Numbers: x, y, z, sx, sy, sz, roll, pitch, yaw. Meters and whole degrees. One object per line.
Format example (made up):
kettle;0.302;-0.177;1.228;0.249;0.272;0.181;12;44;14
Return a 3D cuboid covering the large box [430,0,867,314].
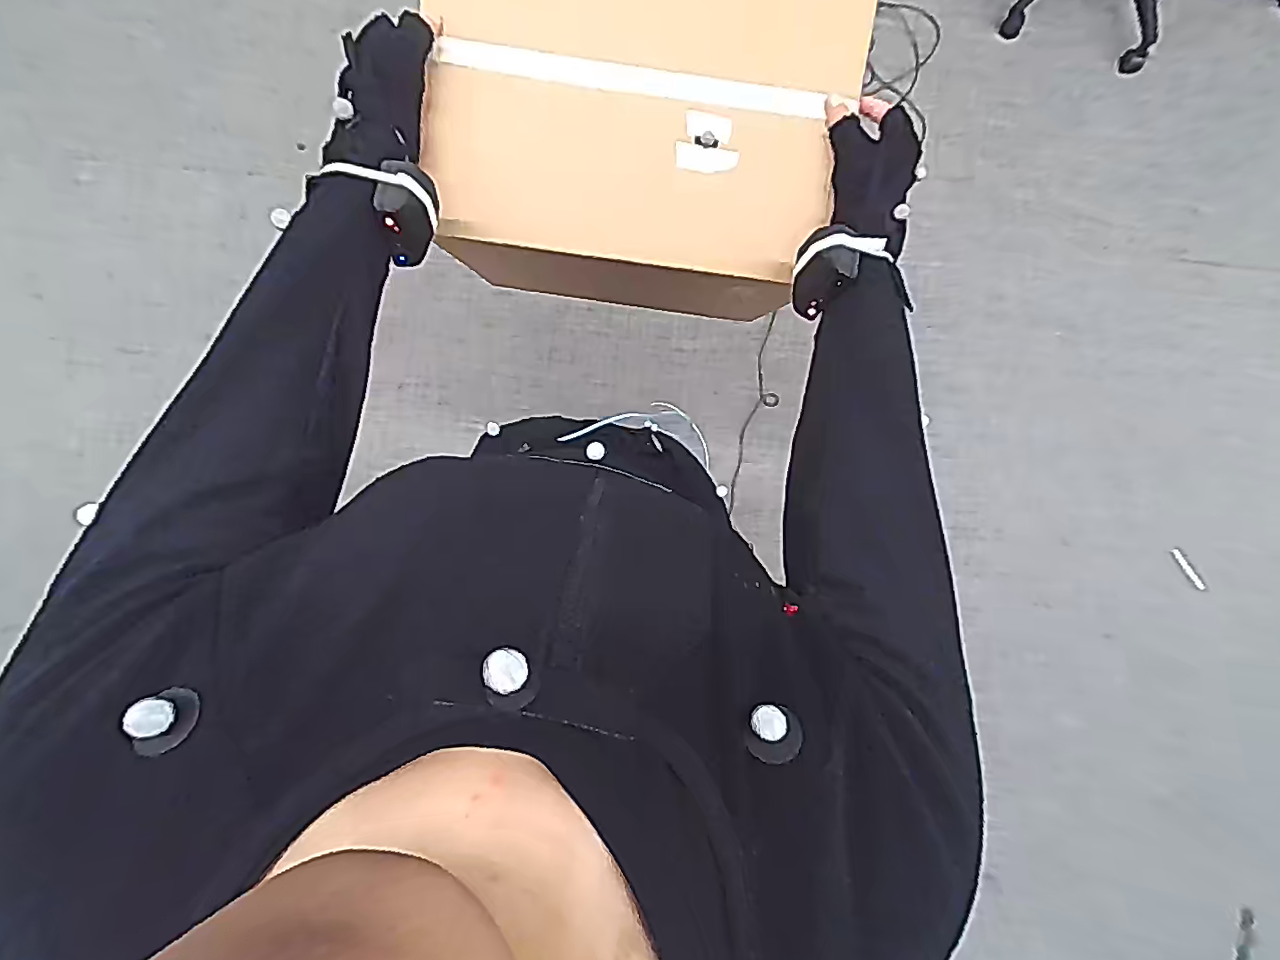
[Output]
large box;-0.001;-0.398;0.658;0.408;0.320;0.320;6;101;-3
